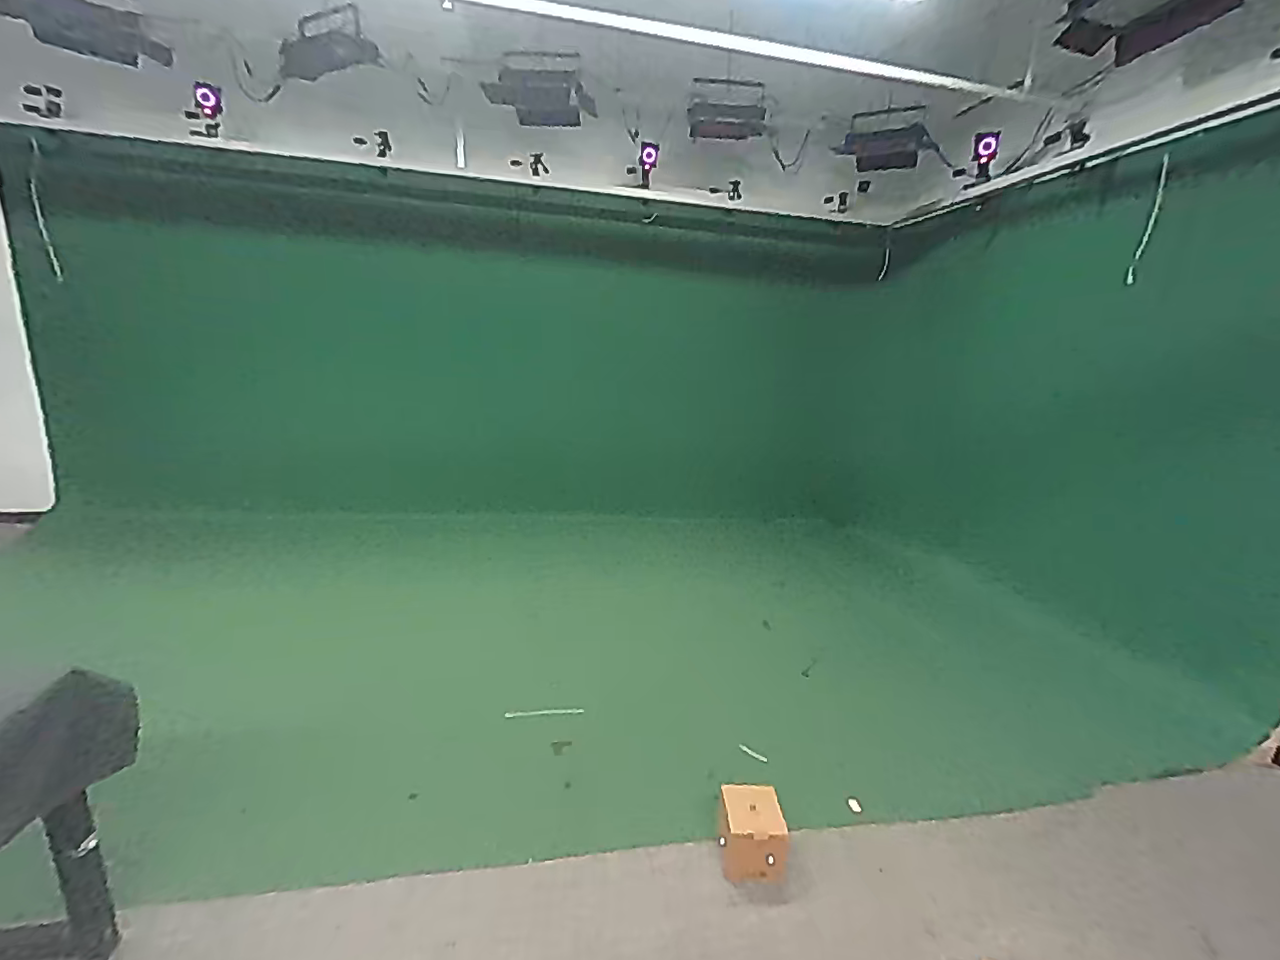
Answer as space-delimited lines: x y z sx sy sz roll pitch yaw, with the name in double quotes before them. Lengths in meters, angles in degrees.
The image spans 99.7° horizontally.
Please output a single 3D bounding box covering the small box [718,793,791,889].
"small box" 0.331 1.060 1.589 0.168 0.176 0.179 4 12 -3
